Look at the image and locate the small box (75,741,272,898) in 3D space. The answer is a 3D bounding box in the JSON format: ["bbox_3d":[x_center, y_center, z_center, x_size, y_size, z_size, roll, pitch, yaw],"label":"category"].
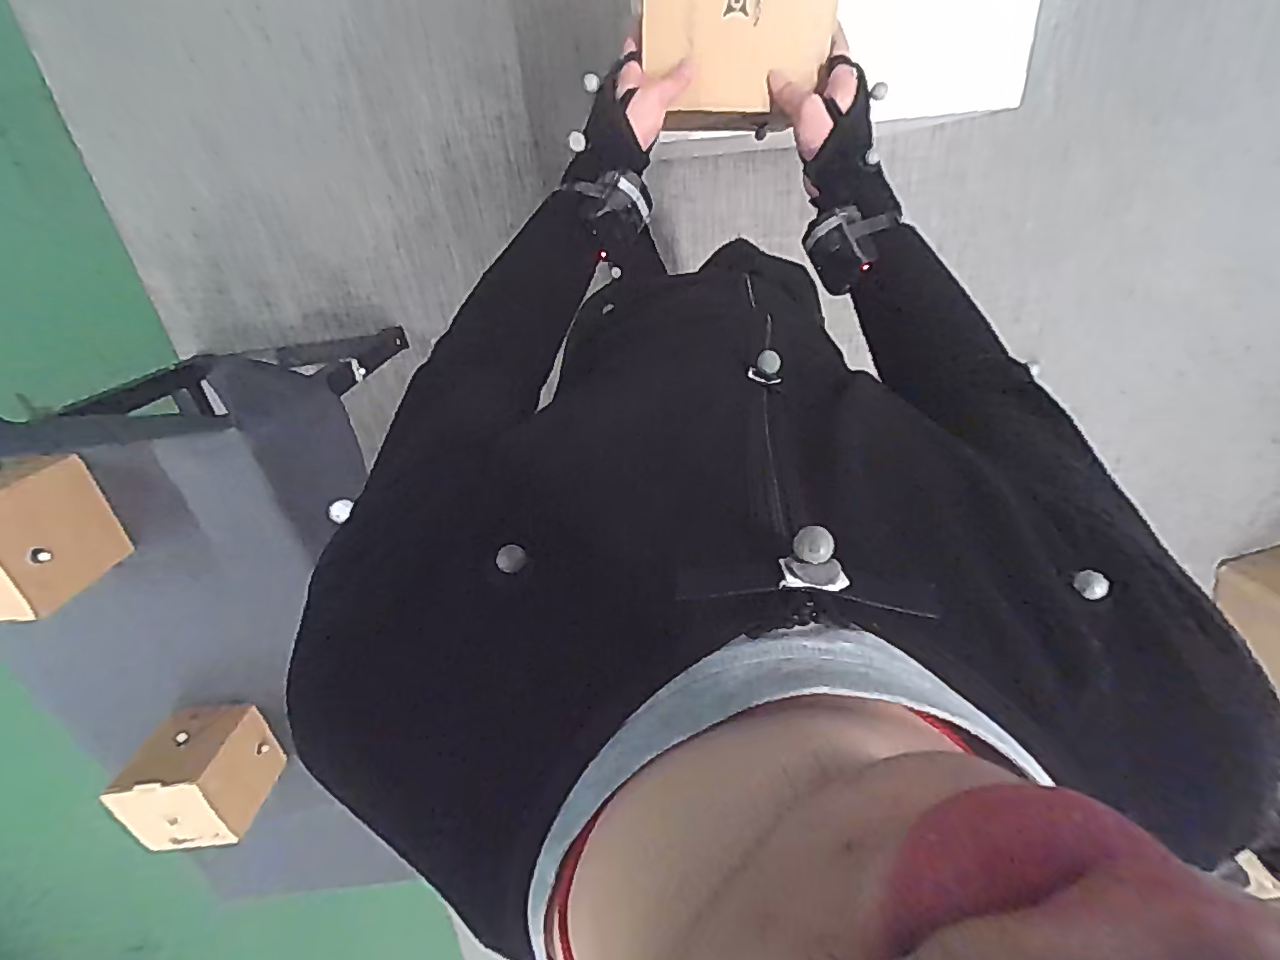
[{"bbox_3d":[-0.801,0.586,0.953,0.168,0.176,0.179,-7,117,-2],"label":"small box"}]

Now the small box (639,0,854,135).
[{"bbox_3d":[0.092,-0.446,0.527,0.179,0.176,0.168,-2,116,-2],"label":"small box"}]

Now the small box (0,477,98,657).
[{"bbox_3d":[-0.884,0.115,0.703,0.168,0.176,0.179,-6,117,-3],"label":"small box"}]
